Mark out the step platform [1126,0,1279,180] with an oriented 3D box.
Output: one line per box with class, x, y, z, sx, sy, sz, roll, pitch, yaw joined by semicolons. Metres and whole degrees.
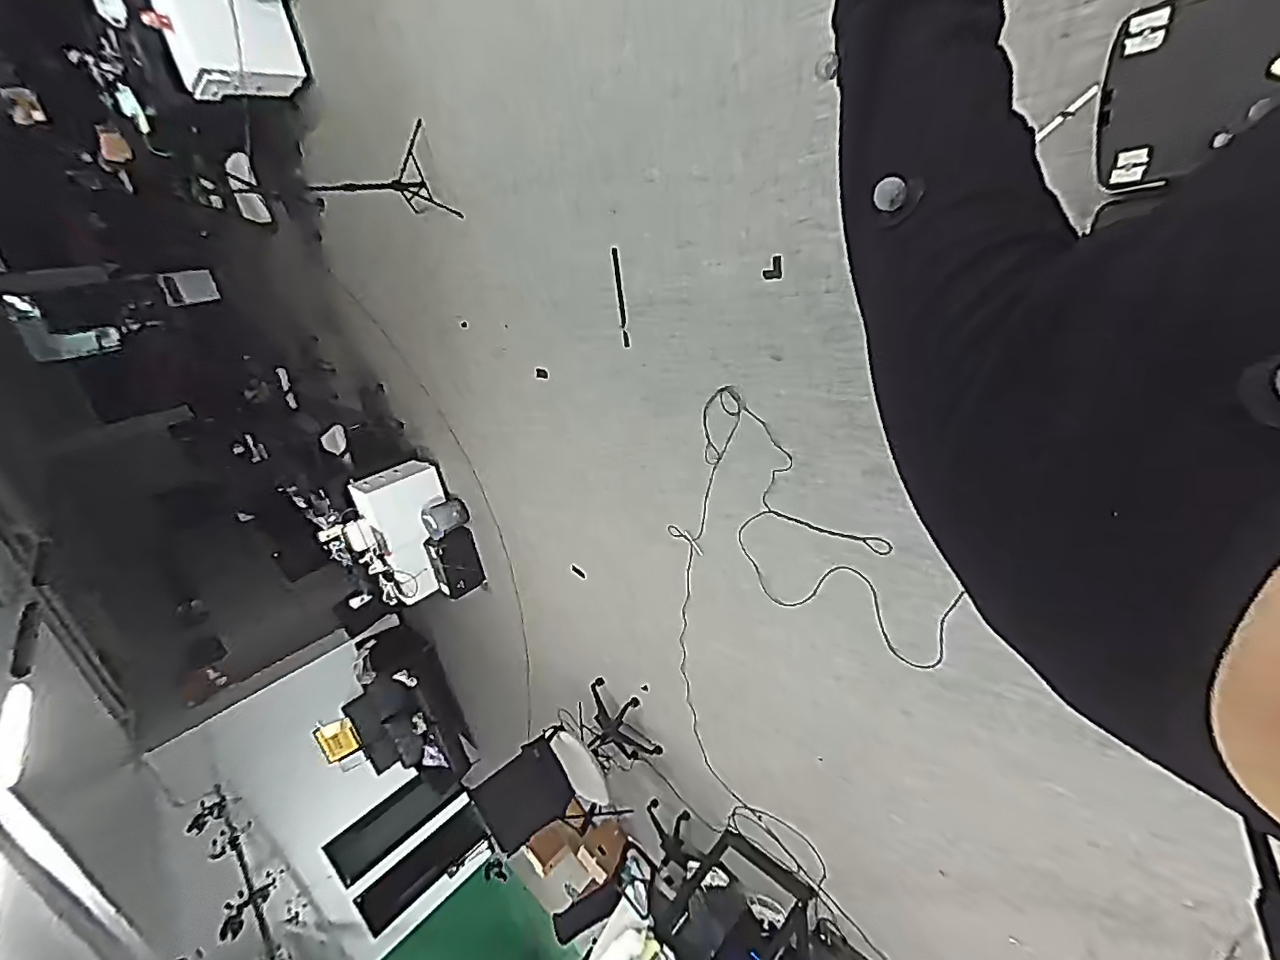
step platform;1.157;-0.663;0.777;0.684;0.204;0.286;11;121;44
